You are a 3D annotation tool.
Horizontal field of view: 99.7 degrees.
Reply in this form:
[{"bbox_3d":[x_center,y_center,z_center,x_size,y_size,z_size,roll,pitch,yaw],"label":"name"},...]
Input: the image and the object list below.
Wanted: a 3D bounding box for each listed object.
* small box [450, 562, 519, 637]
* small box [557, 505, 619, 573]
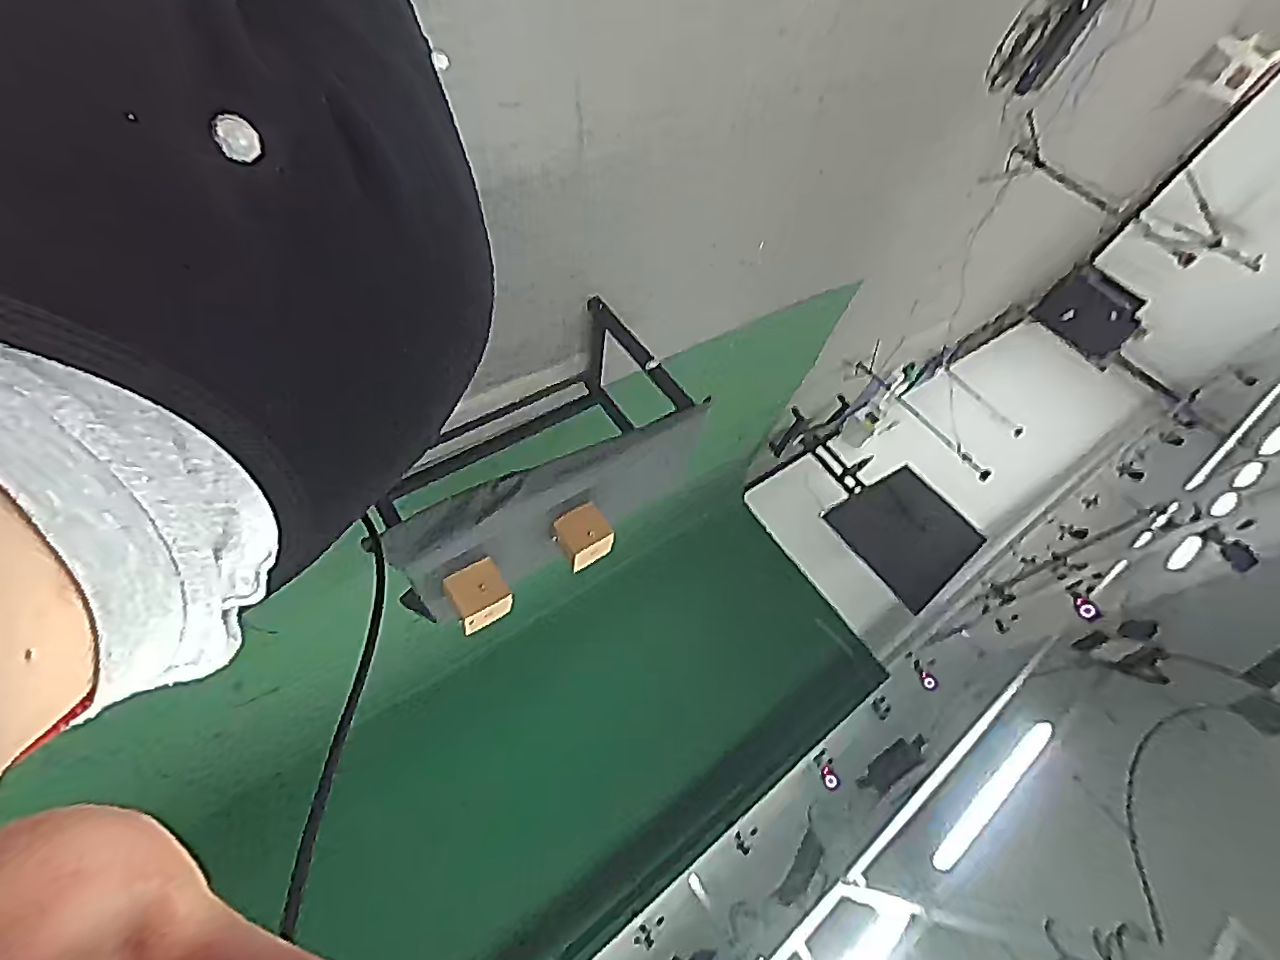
[{"bbox_3d":[-0.549,0.418,1.910,0.179,0.176,0.168,-28,156,-29],"label":"small box"},{"bbox_3d":[-0.202,0.224,2.092,0.179,0.176,0.168,-28,155,-22],"label":"small box"}]
